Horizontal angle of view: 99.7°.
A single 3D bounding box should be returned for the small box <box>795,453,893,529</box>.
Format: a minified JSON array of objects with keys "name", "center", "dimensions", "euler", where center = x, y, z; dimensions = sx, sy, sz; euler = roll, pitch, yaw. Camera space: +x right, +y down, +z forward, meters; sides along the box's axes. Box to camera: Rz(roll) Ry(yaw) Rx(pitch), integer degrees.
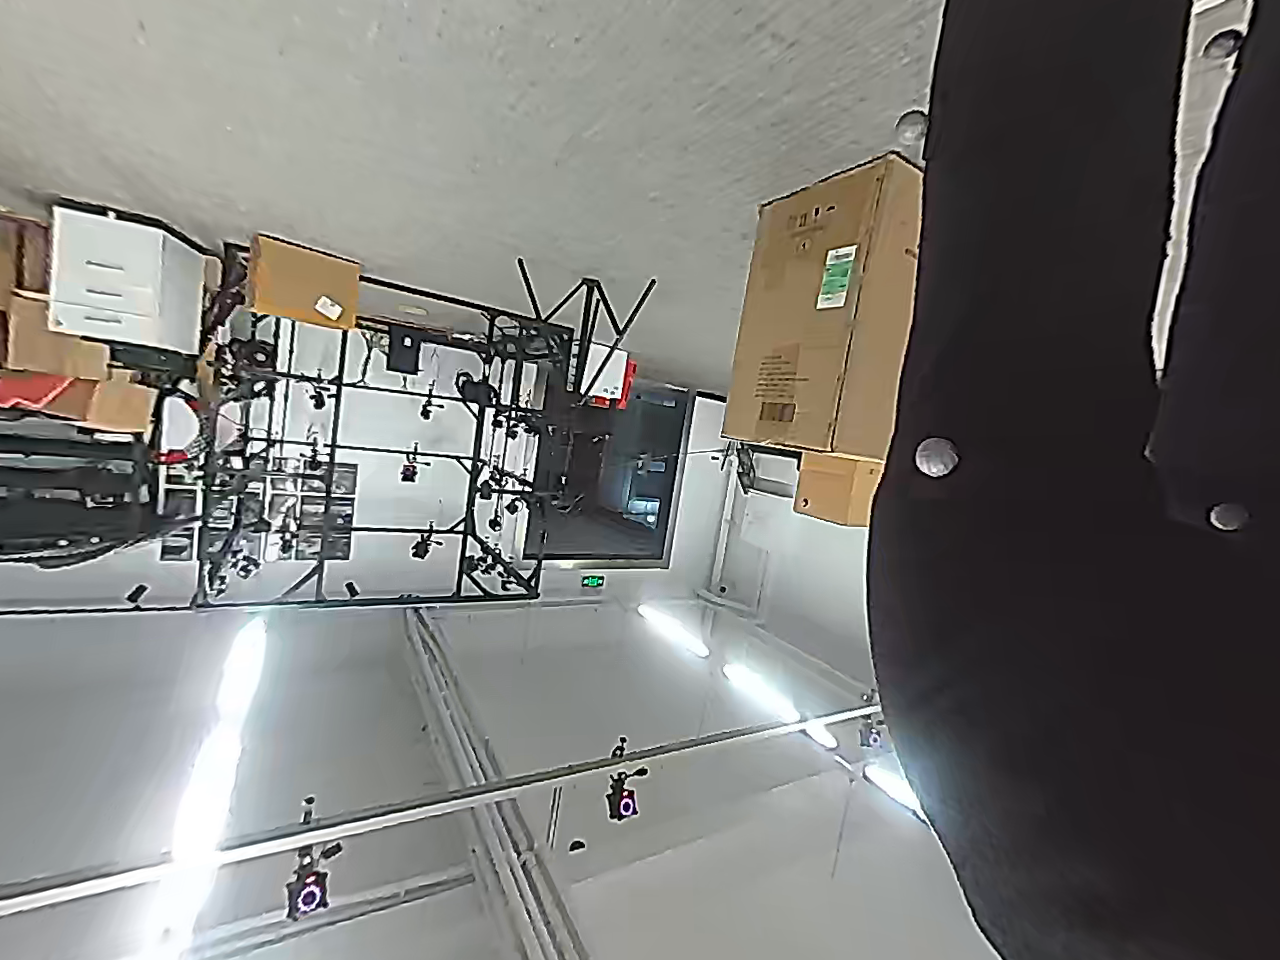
[{"name":"small box","center":[0.530,0.025,1.398],"dimensions":[0.168,0.176,0.179],"euler":[5,-173,-32]}]
